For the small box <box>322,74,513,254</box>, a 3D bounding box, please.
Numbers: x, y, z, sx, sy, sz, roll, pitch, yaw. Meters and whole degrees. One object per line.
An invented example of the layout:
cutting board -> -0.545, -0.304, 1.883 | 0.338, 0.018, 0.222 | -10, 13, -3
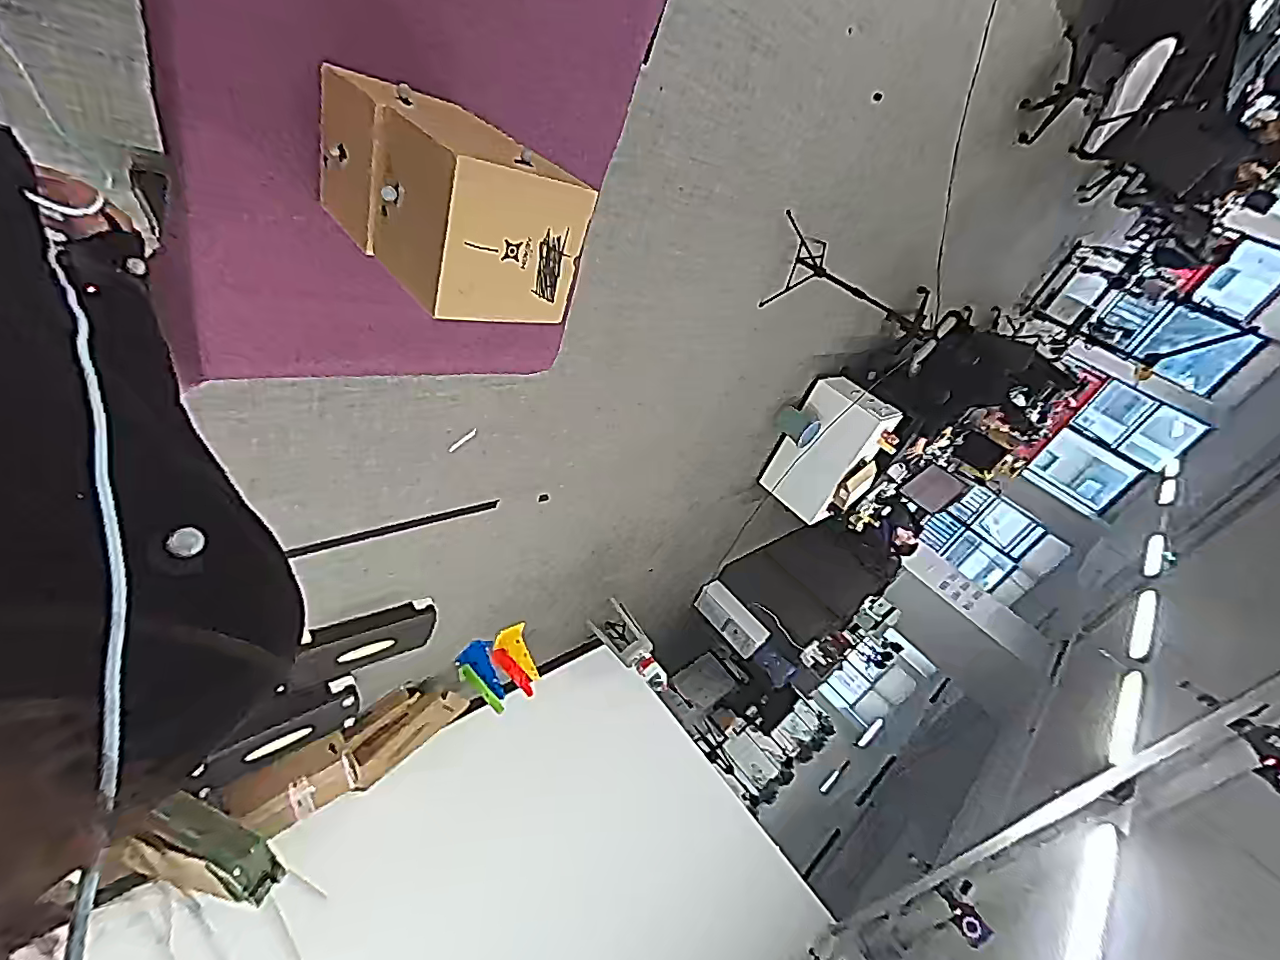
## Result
small box -> -0.300, -0.404, 0.715 | 0.179, 0.176, 0.168 | -14, 139, -44

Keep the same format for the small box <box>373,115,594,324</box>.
small box -> -0.191, -0.303, 0.645 | 0.179, 0.176, 0.168 | -13, 138, -44
